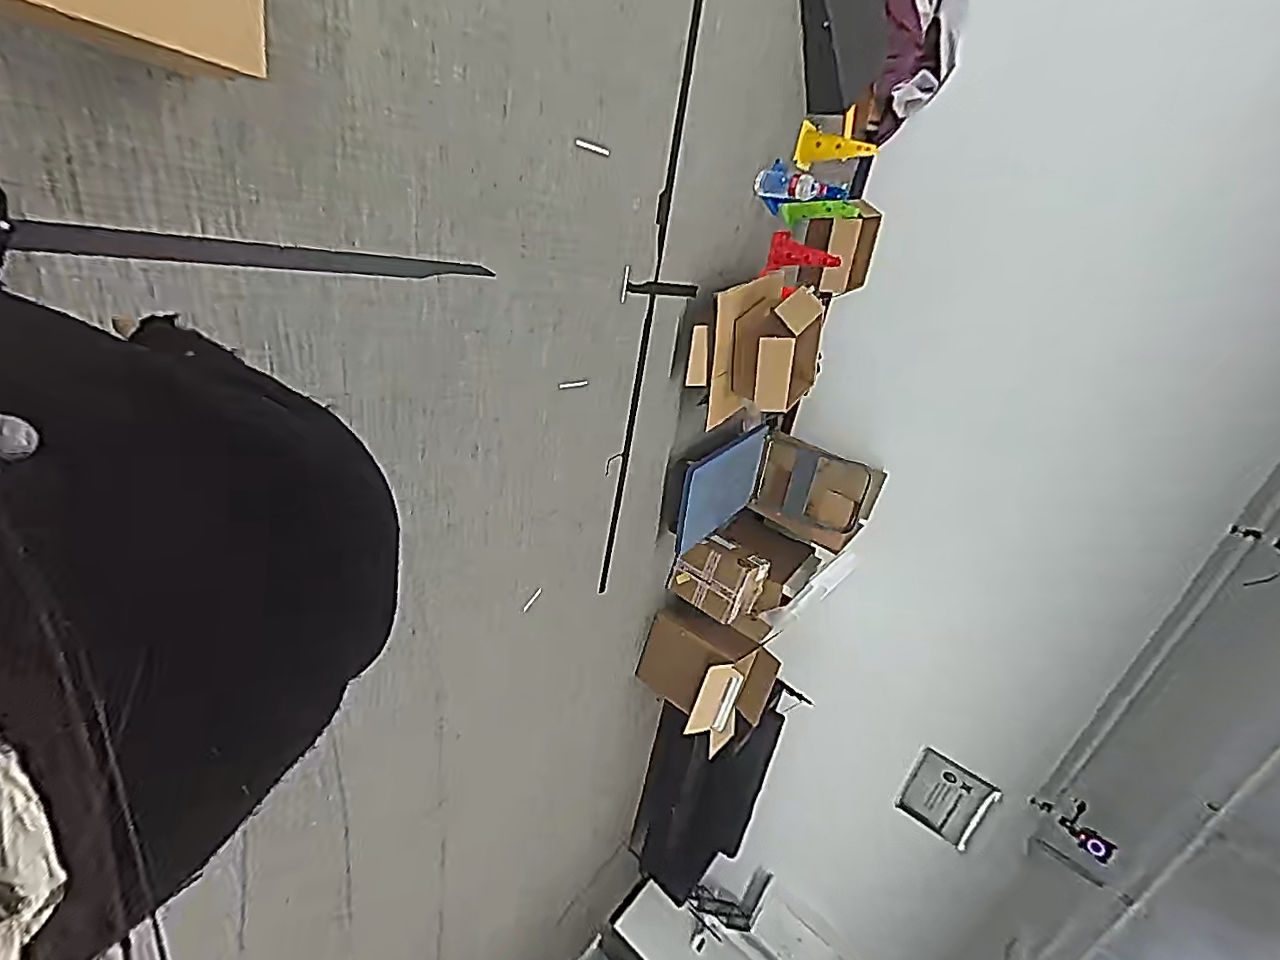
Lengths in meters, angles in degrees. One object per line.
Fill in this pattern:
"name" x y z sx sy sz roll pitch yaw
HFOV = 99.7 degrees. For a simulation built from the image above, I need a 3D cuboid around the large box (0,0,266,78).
"large box" -0.802 -0.789 0.721 0.408 0.320 0.320 -19 127 -51
